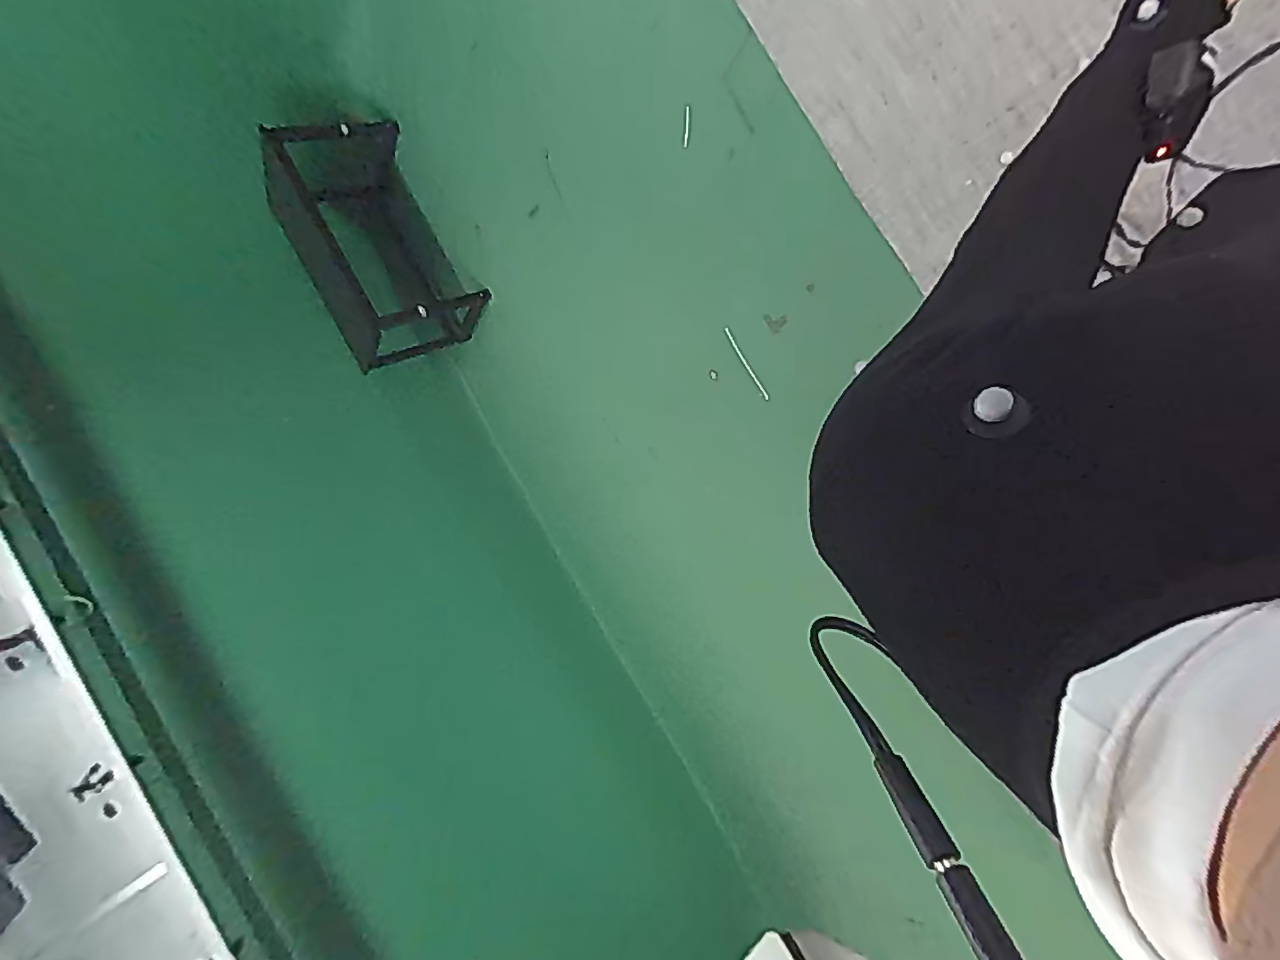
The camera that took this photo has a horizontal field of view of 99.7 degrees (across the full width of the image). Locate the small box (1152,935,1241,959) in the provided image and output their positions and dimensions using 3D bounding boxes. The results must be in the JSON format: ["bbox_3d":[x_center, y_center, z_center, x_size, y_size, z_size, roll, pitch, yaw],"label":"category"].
[{"bbox_3d":[0.961,0.905,0.869,0.179,0.176,0.168,60,146,1],"label":"small box"}]
